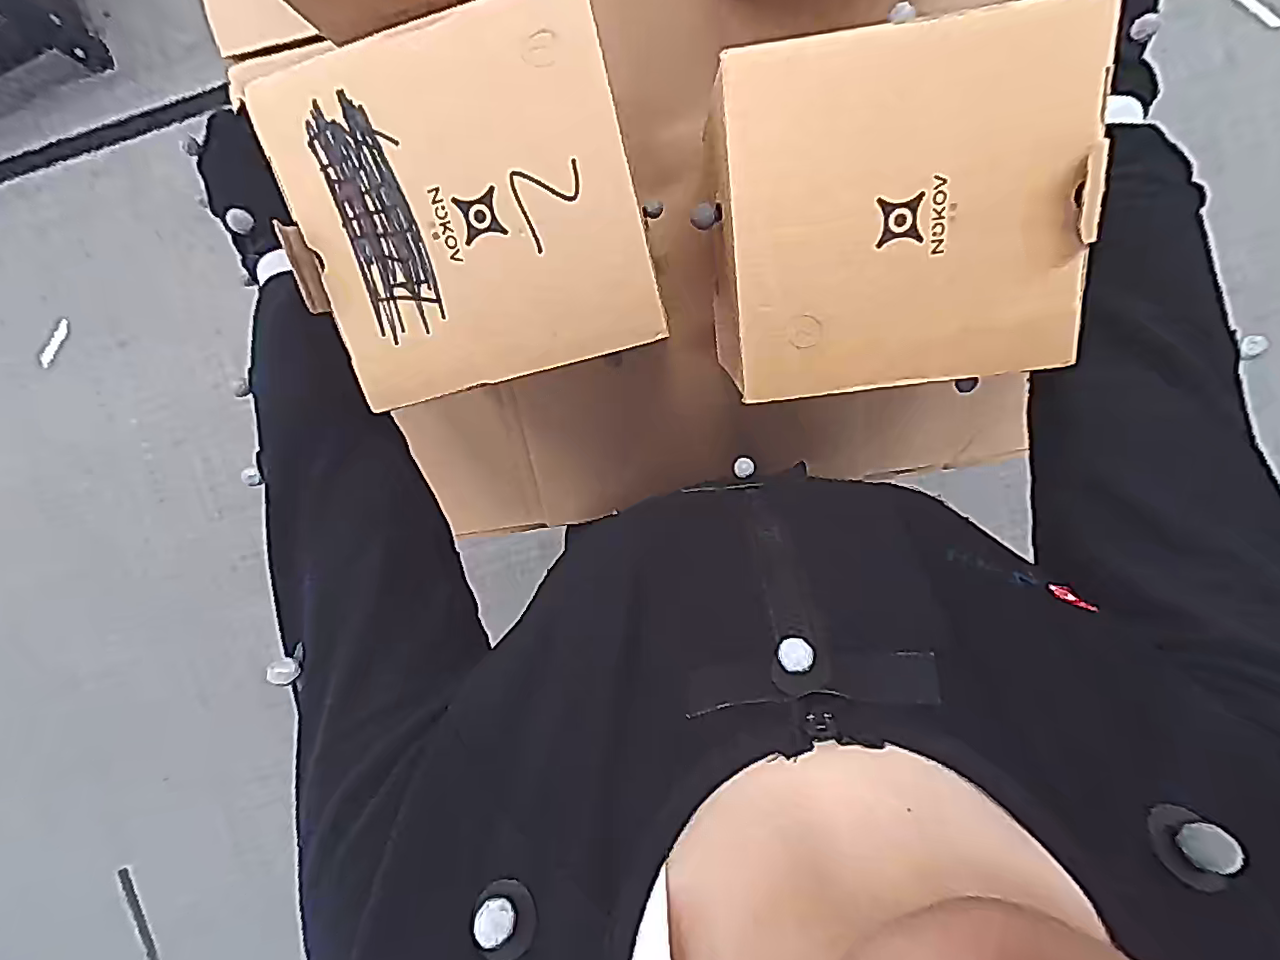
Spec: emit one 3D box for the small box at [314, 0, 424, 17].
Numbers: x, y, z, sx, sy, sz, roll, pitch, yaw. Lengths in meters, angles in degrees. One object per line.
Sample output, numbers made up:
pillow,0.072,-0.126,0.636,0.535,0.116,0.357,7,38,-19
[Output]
small box,-0.161,-0.394,0.286,0.168,0.176,0.179,-10,105,6
